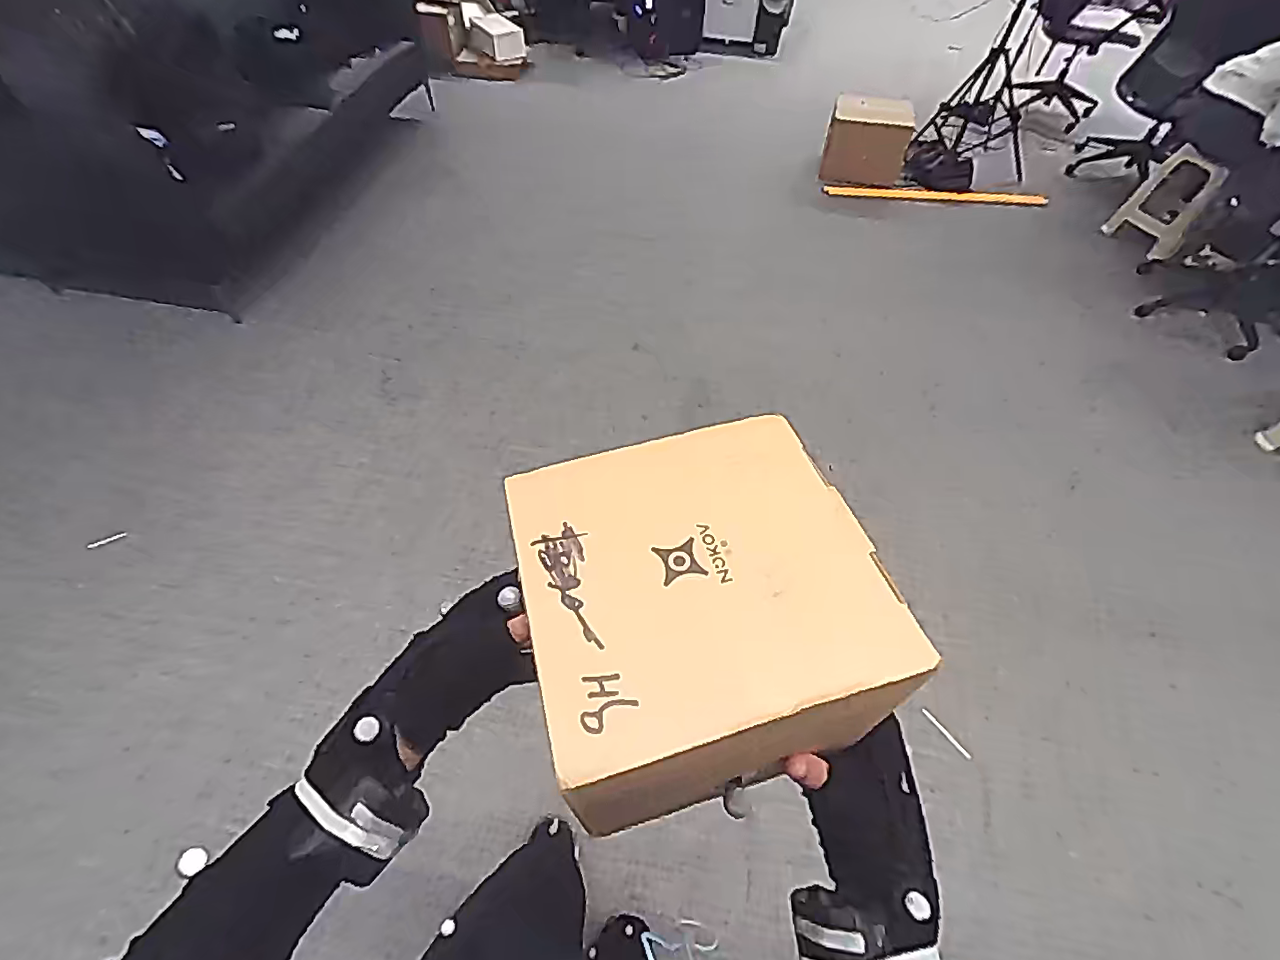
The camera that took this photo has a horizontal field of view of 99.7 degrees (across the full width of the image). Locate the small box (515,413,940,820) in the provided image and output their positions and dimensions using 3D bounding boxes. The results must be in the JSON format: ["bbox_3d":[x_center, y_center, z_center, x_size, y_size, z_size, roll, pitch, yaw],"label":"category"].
[{"bbox_3d":[0.031,0.086,0.336,0.179,0.176,0.168,-12,52,-10],"label":"small box"}]
